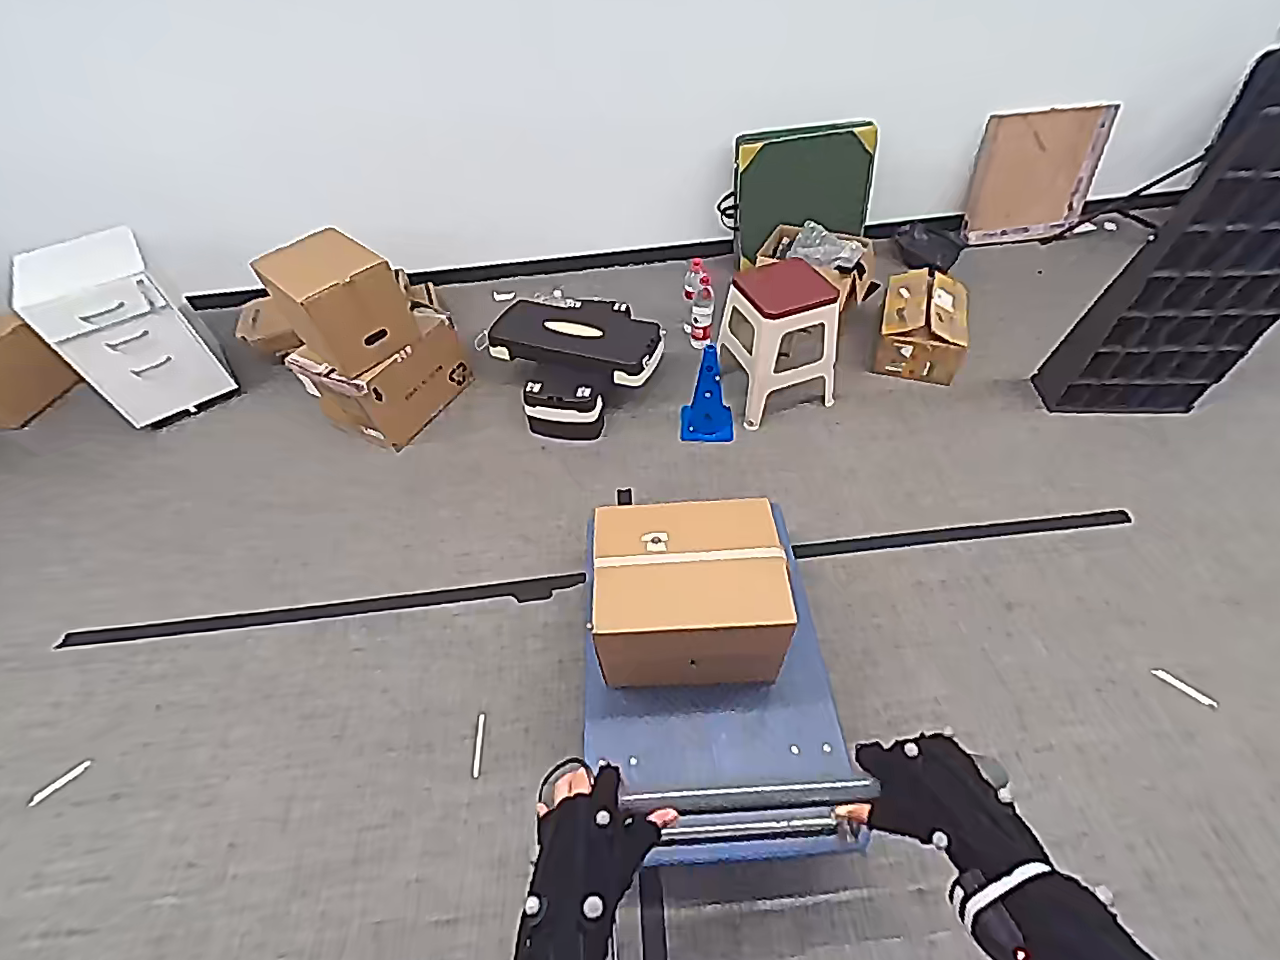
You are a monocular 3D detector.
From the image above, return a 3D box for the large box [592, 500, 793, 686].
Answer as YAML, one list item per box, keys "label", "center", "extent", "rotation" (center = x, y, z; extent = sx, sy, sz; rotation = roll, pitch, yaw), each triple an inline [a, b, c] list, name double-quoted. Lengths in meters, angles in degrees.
- label: "large box"
  center: [0.108, 0.272, 1.271]
  extent: [0.408, 0.320, 0.320]
  rotation: [-4, 50, 2]
